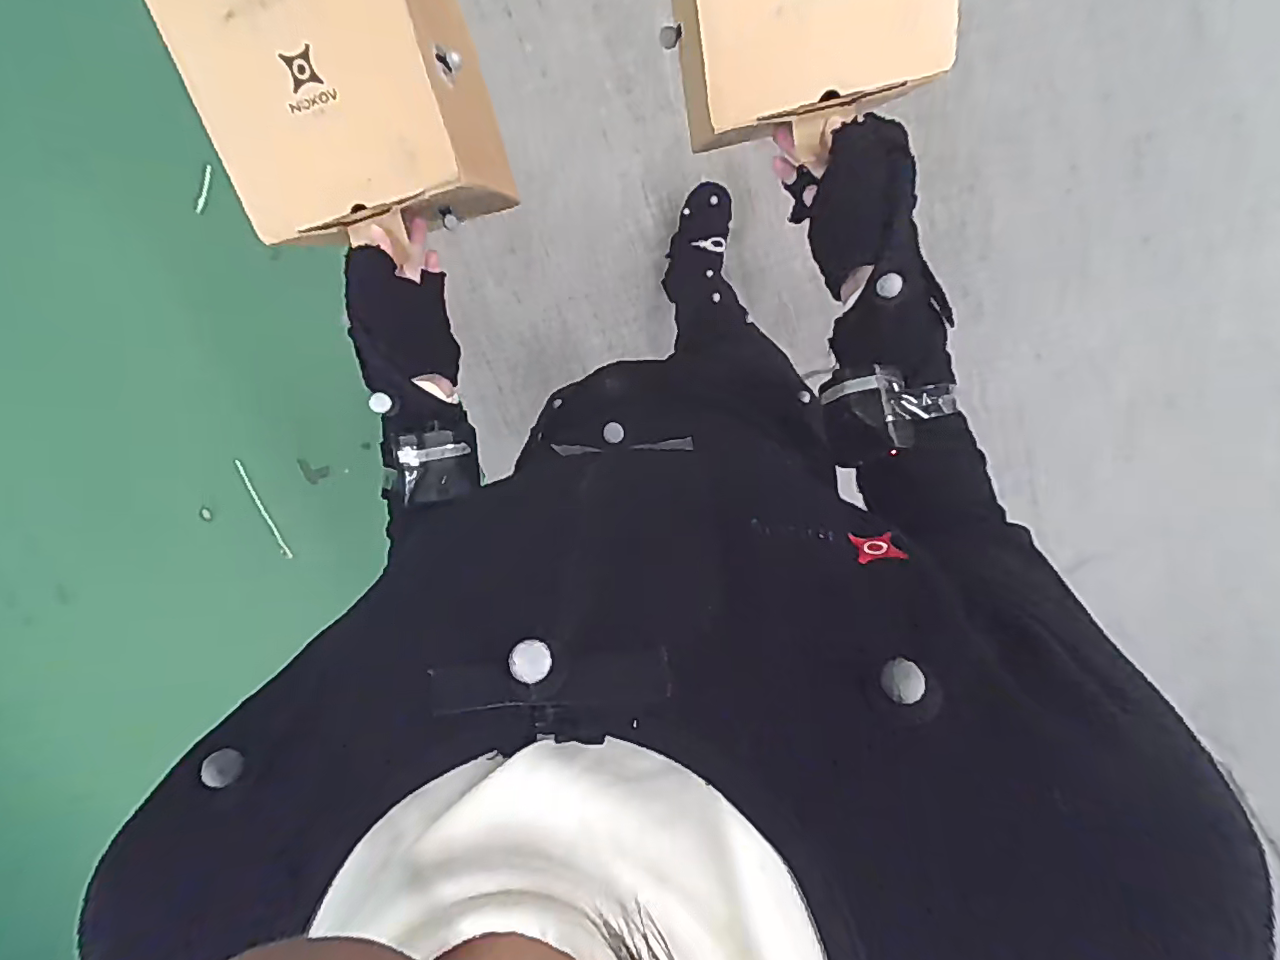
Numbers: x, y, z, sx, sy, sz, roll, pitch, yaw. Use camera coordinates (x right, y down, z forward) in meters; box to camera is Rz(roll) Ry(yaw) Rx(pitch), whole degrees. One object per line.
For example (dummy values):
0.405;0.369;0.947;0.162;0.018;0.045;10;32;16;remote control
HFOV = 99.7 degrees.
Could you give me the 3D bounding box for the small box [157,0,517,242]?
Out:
-0.220;-0.309;0.445;0.168;0.176;0.179;-13;110;9;small box
